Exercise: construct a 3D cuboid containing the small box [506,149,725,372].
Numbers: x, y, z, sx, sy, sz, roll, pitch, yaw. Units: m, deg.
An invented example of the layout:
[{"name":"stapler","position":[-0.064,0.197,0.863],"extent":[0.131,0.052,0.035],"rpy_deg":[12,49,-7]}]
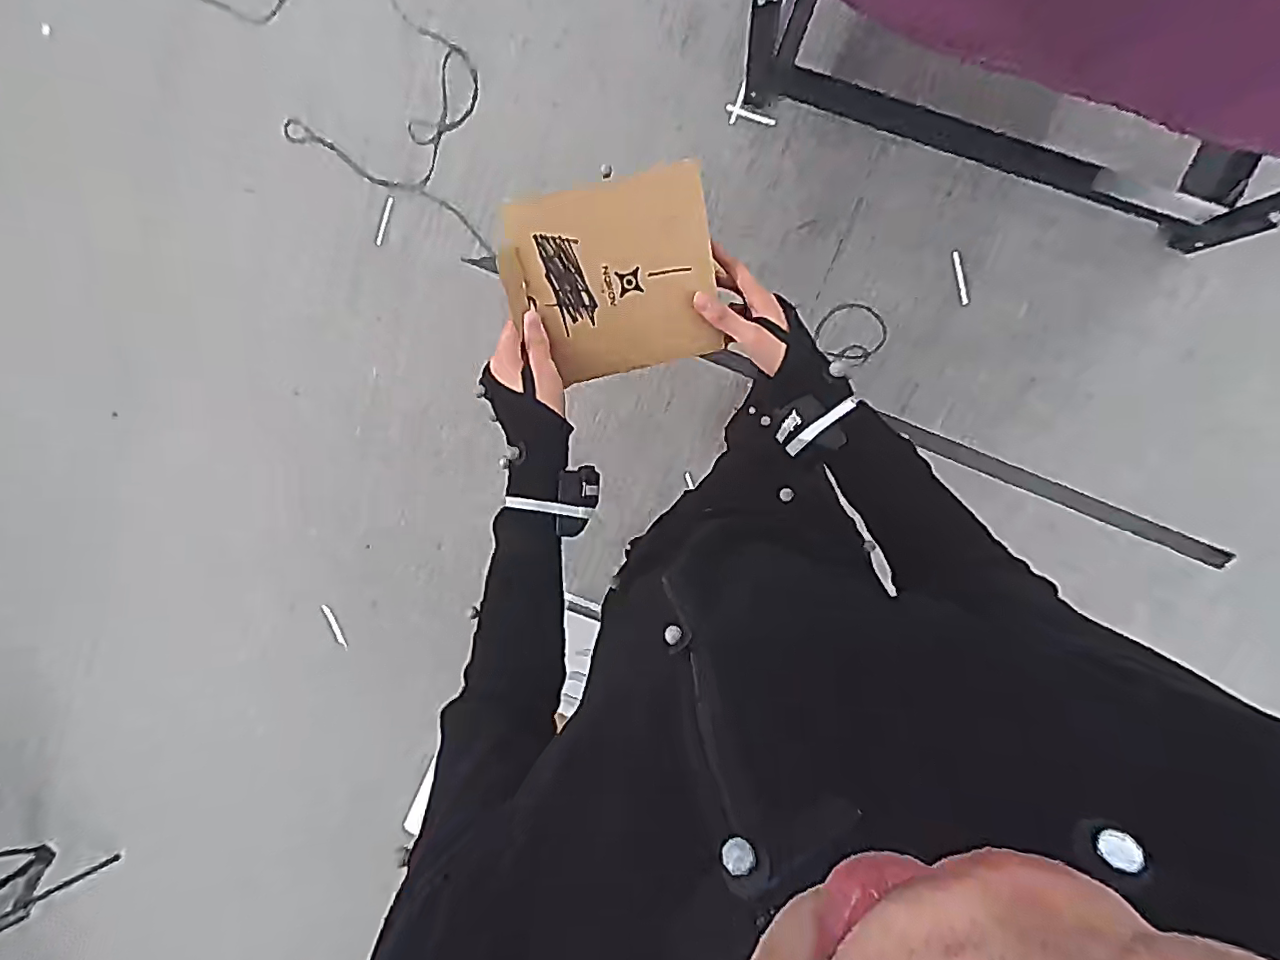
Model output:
[{"name":"small box","position":[-0.021,-0.227,0.562],"extent":[0.179,0.176,0.168],"rpy_deg":[-12,118,1]}]
